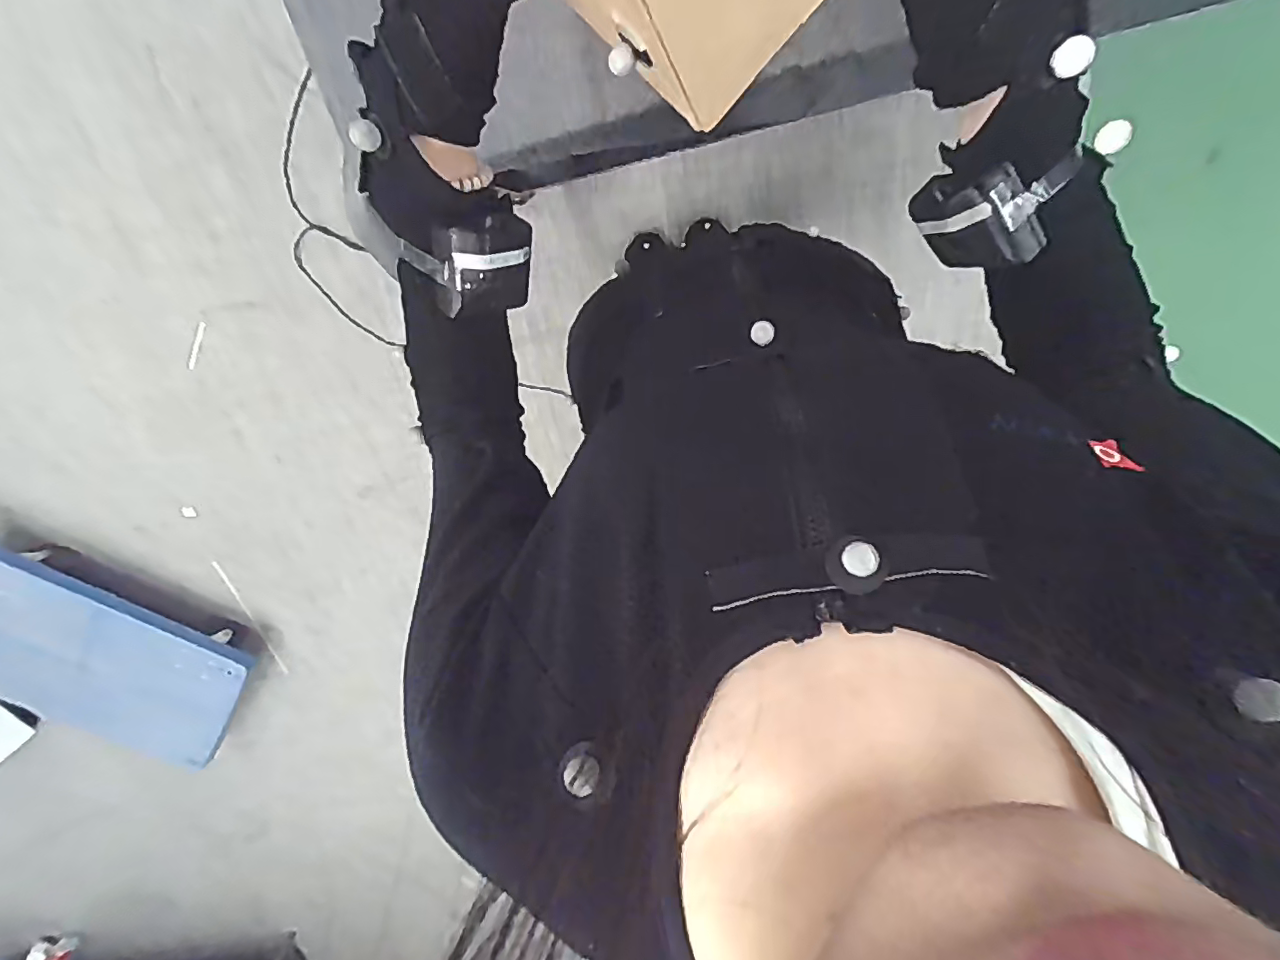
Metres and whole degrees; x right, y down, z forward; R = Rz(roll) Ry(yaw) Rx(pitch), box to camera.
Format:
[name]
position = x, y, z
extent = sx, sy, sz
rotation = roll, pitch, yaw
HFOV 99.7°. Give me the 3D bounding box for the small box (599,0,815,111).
[small box]
position = 0.008, -0.285, 0.174
extent = 0.168, 0.179, 0.176
rotation = -43, 77, 18
